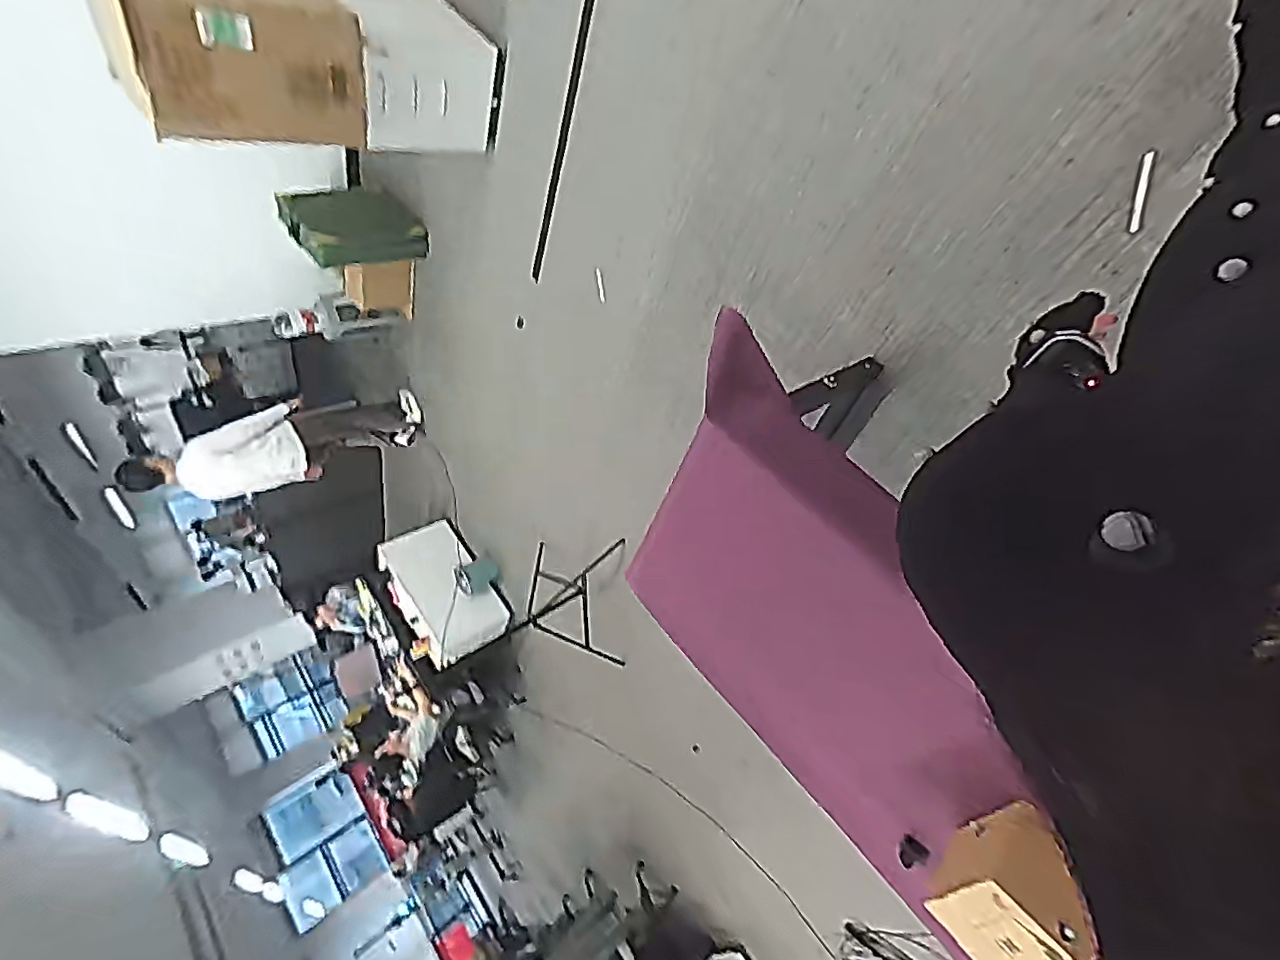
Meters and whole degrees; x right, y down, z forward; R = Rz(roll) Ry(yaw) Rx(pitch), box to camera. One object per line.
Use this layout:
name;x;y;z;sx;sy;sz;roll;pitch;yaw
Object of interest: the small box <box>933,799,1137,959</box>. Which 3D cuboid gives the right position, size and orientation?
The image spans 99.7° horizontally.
small box;0.596;0.632;0.819;0.168;0.176;0.179;42;138;27
